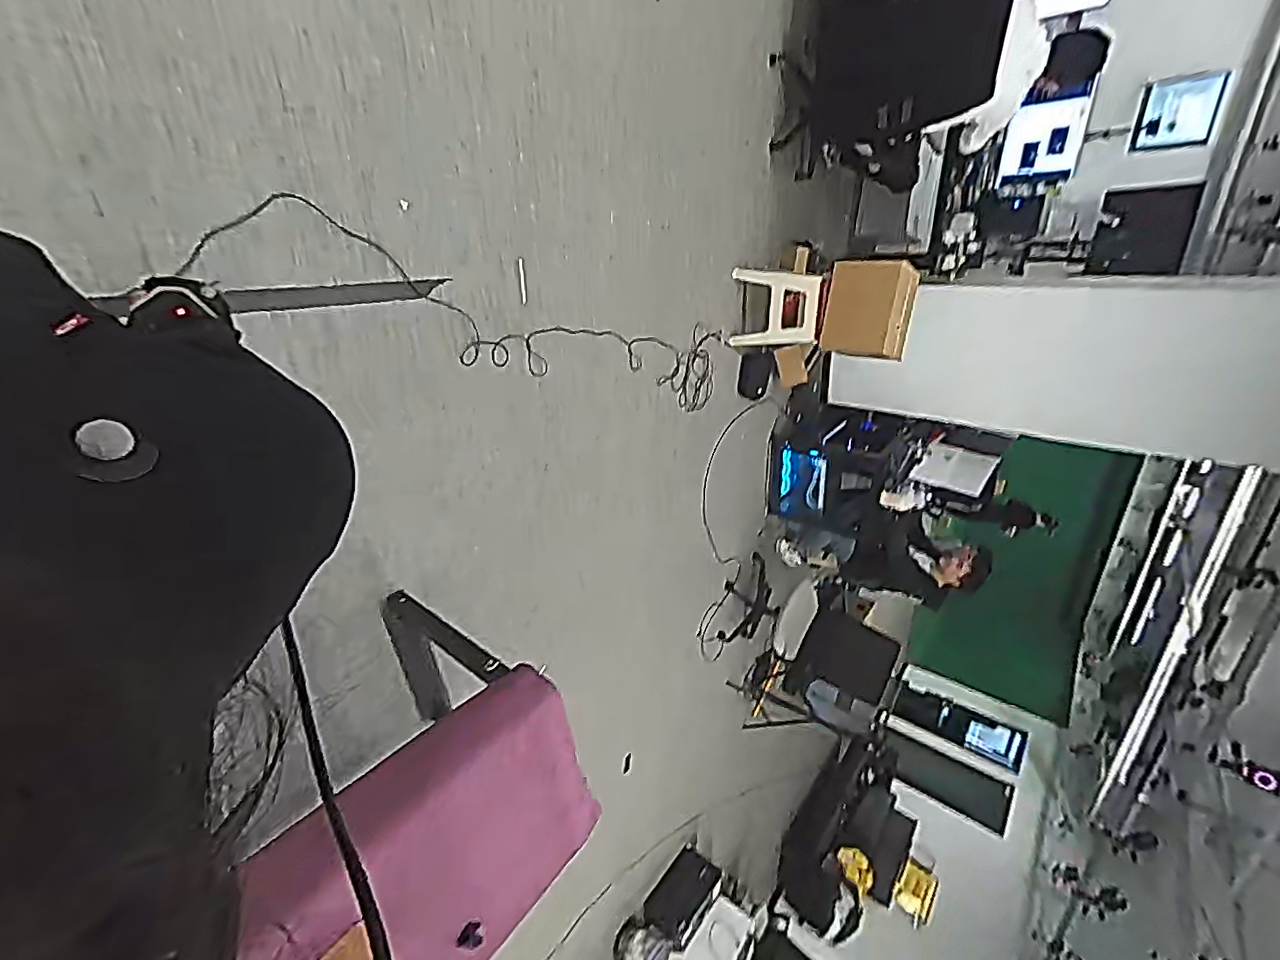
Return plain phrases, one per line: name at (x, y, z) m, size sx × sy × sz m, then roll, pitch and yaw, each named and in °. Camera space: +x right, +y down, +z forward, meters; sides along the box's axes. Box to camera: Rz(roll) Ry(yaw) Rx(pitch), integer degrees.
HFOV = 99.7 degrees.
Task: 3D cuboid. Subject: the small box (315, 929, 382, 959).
small box at (-0.504, 0.933, 0.924) m, size 0.168 × 0.176 × 0.179 m, roll -31°, pitch 126°, yaw -42°
